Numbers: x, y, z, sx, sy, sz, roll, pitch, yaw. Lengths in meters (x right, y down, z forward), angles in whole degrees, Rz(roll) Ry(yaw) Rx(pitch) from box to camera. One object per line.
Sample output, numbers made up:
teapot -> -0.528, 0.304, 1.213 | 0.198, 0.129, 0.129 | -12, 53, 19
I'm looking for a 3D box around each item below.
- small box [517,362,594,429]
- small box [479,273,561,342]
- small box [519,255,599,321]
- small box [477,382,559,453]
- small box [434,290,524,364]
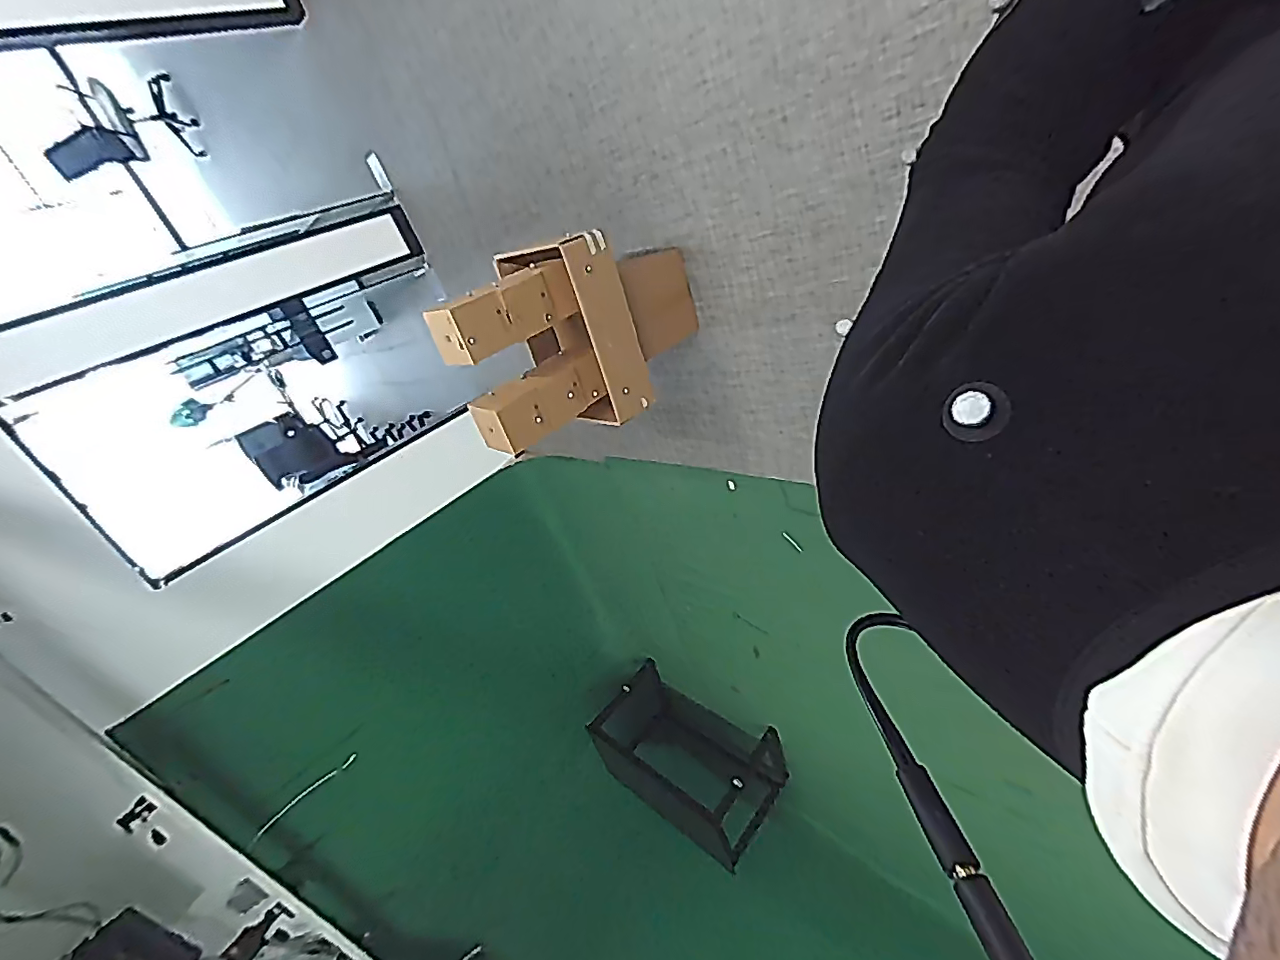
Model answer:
small box -> -0.291, -0.298, 1.875 | 0.179, 0.176, 0.168 | 17, 135, 42
small box -> -0.373, -0.551, 1.725 | 0.179, 0.176, 0.168 | 16, 133, 43
small box -> -0.270, -0.642, 1.816 | 0.179, 0.176, 0.168 | 14, 132, 43
small box -> -0.398, -0.212, 1.788 | 0.179, 0.176, 0.168 | 16, 135, 43
small box -> -0.486, -0.465, 1.642 | 0.179, 0.176, 0.168 | 13, 131, 45
